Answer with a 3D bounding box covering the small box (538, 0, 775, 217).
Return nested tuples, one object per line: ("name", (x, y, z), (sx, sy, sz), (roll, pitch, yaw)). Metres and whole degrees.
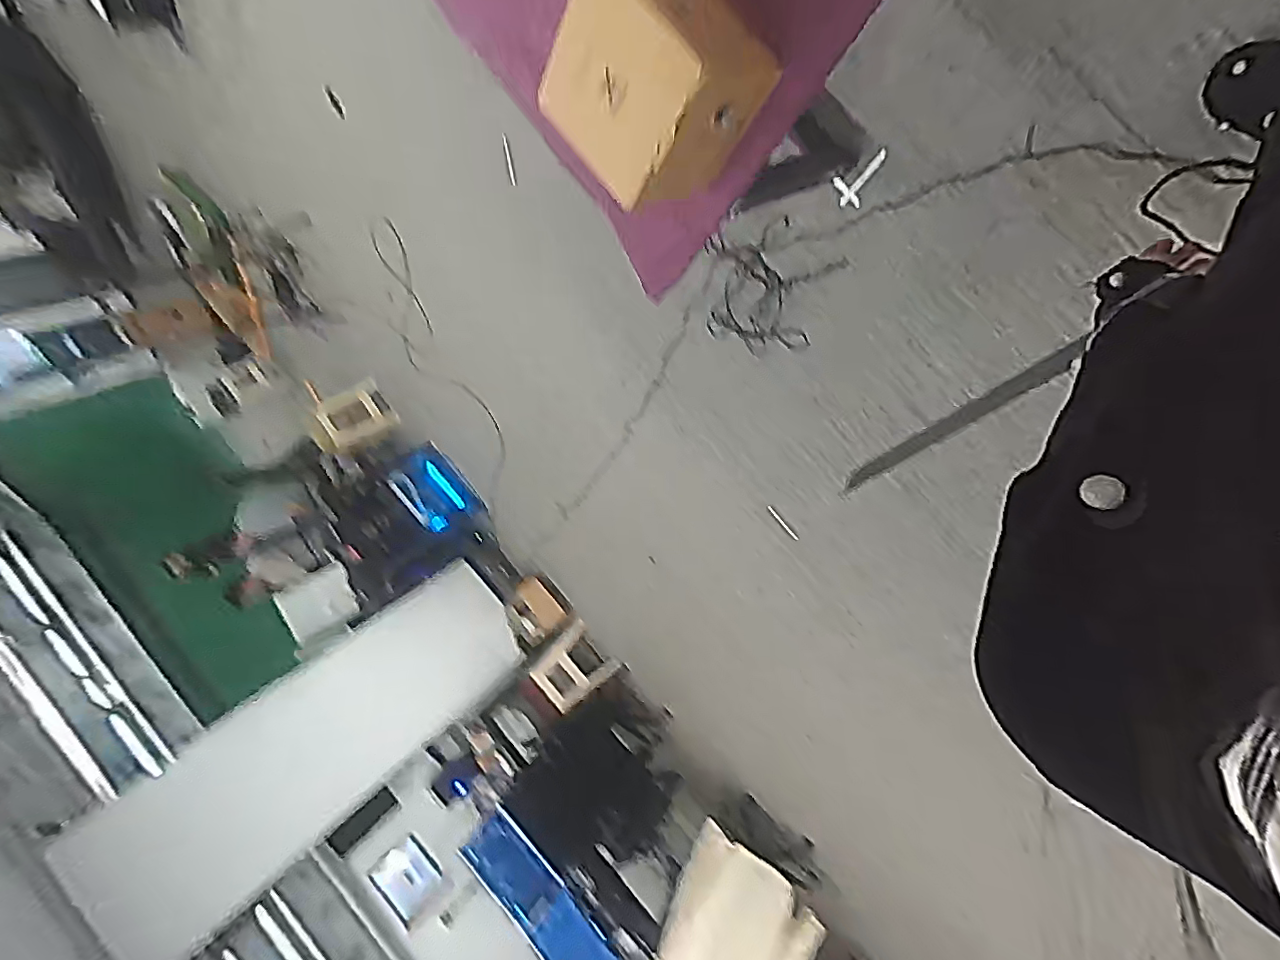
("small box", (0.020, -0.443, 0.621), (0.179, 0.176, 0.168), (51, 141, 3))
